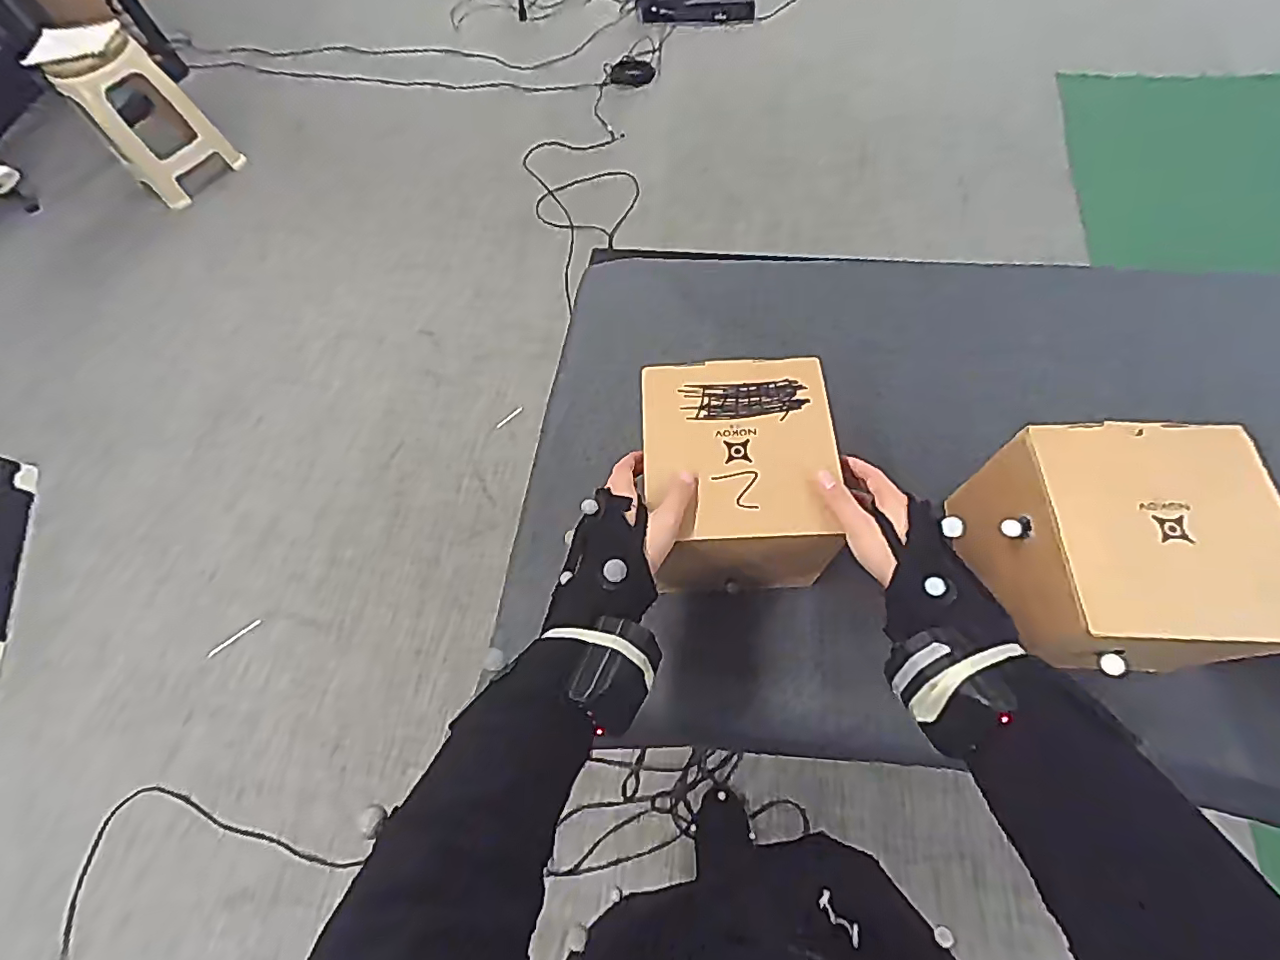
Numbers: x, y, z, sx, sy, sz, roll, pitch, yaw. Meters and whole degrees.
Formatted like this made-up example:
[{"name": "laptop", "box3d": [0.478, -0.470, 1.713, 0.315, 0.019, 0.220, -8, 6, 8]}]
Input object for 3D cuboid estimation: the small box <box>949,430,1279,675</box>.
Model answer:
[{"name": "small box", "box3d": [0.405, 0.072, 0.479, 0.168, 0.176, 0.179, 1, 63, 5]}]
